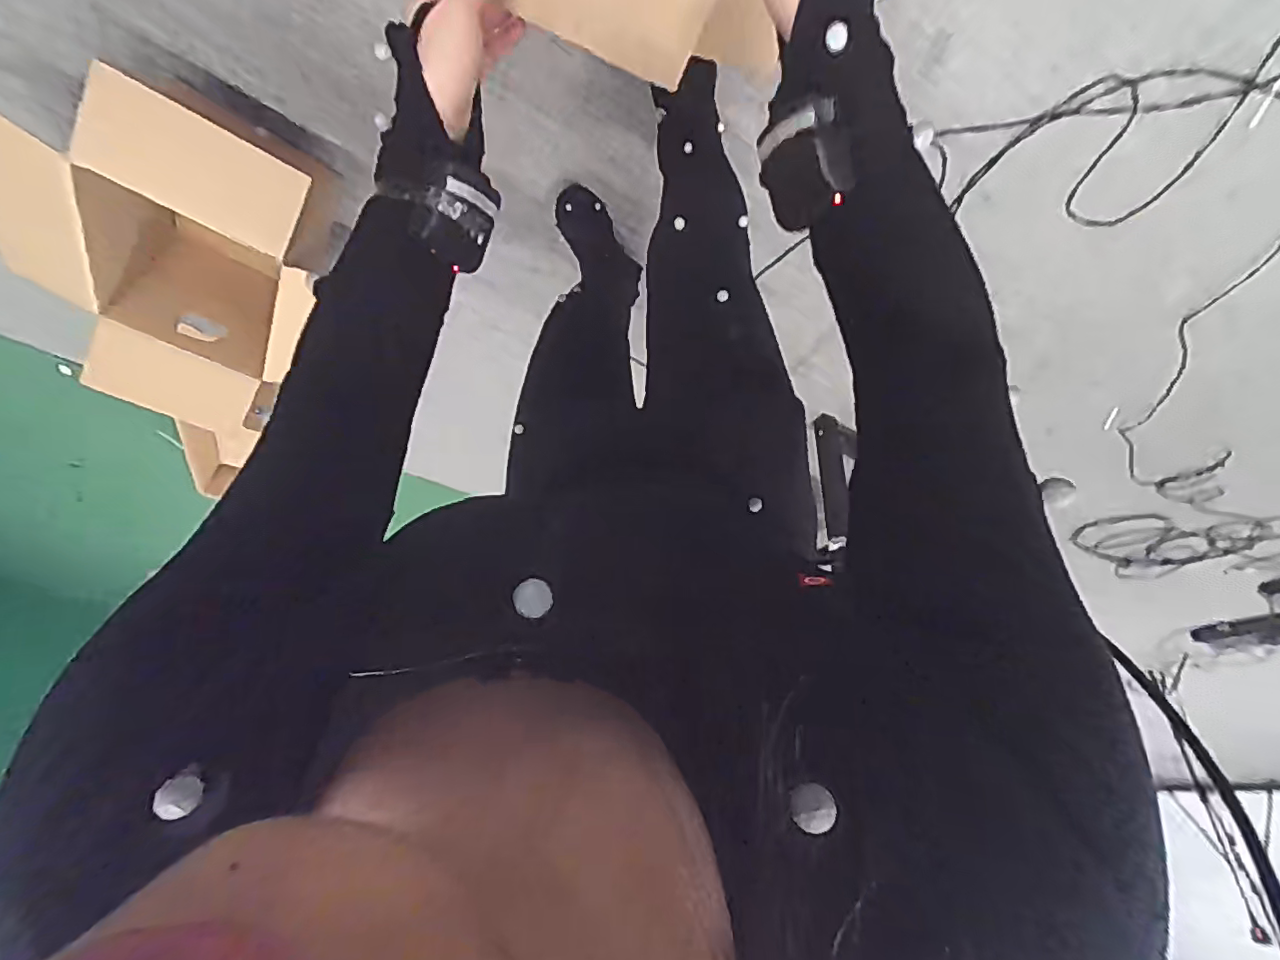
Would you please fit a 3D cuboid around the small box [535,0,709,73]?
[{"bbox_3d":[-0.011,-0.465,0.396,0.179,0.176,0.168,14,154,-20],"label":"small box"}]
